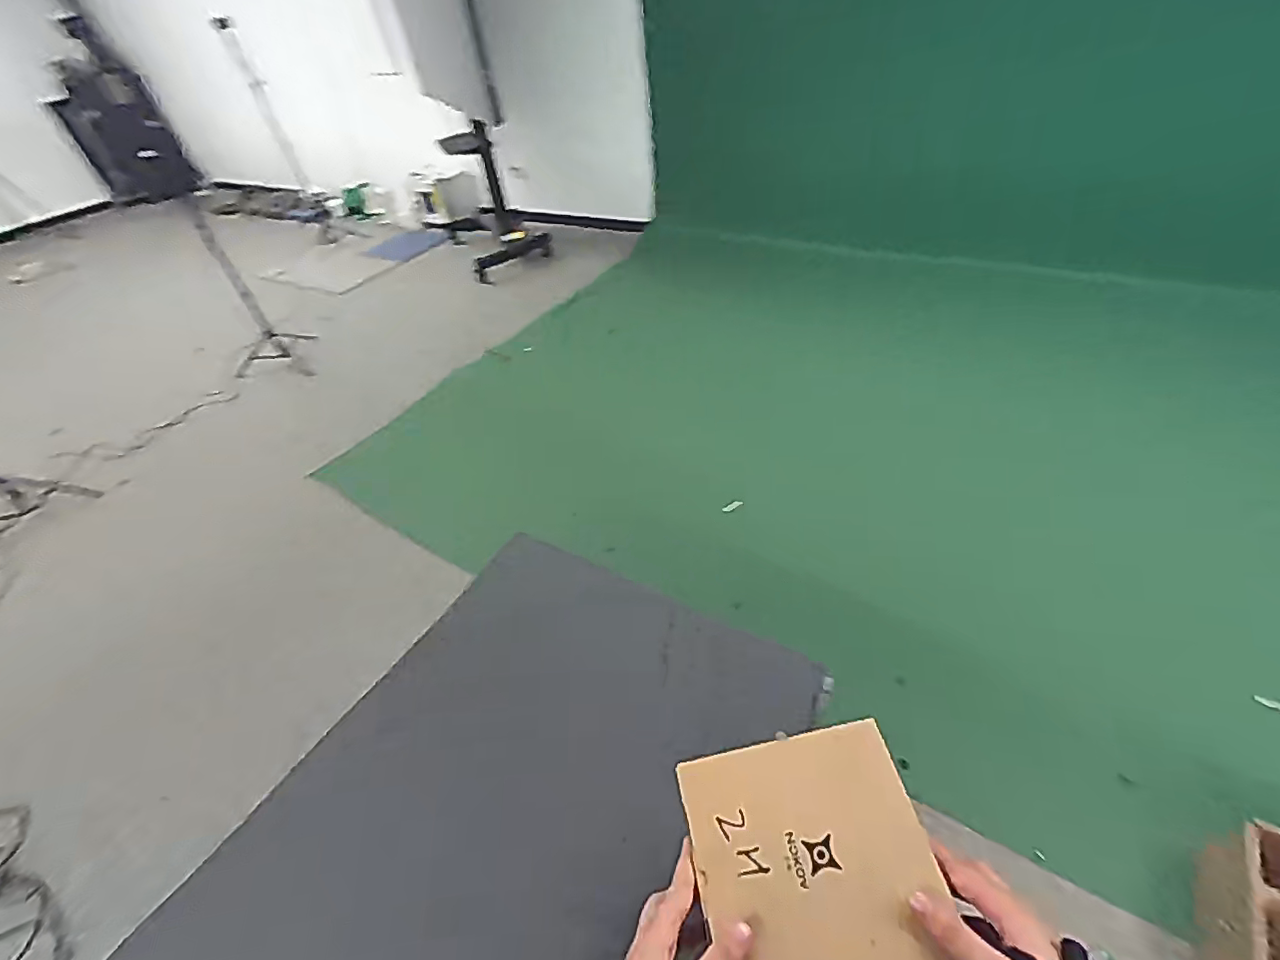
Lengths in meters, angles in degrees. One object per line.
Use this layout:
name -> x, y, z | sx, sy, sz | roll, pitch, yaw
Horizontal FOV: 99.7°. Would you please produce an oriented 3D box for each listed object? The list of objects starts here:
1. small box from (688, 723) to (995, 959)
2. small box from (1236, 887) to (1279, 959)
small box -> 0.147, 0.326, 0.454 | 0.179, 0.176, 0.168 | -14, 49, 2
small box -> 1.177, 0.850, 0.924 | 0.179, 0.176, 0.168 | 22, 52, 28
